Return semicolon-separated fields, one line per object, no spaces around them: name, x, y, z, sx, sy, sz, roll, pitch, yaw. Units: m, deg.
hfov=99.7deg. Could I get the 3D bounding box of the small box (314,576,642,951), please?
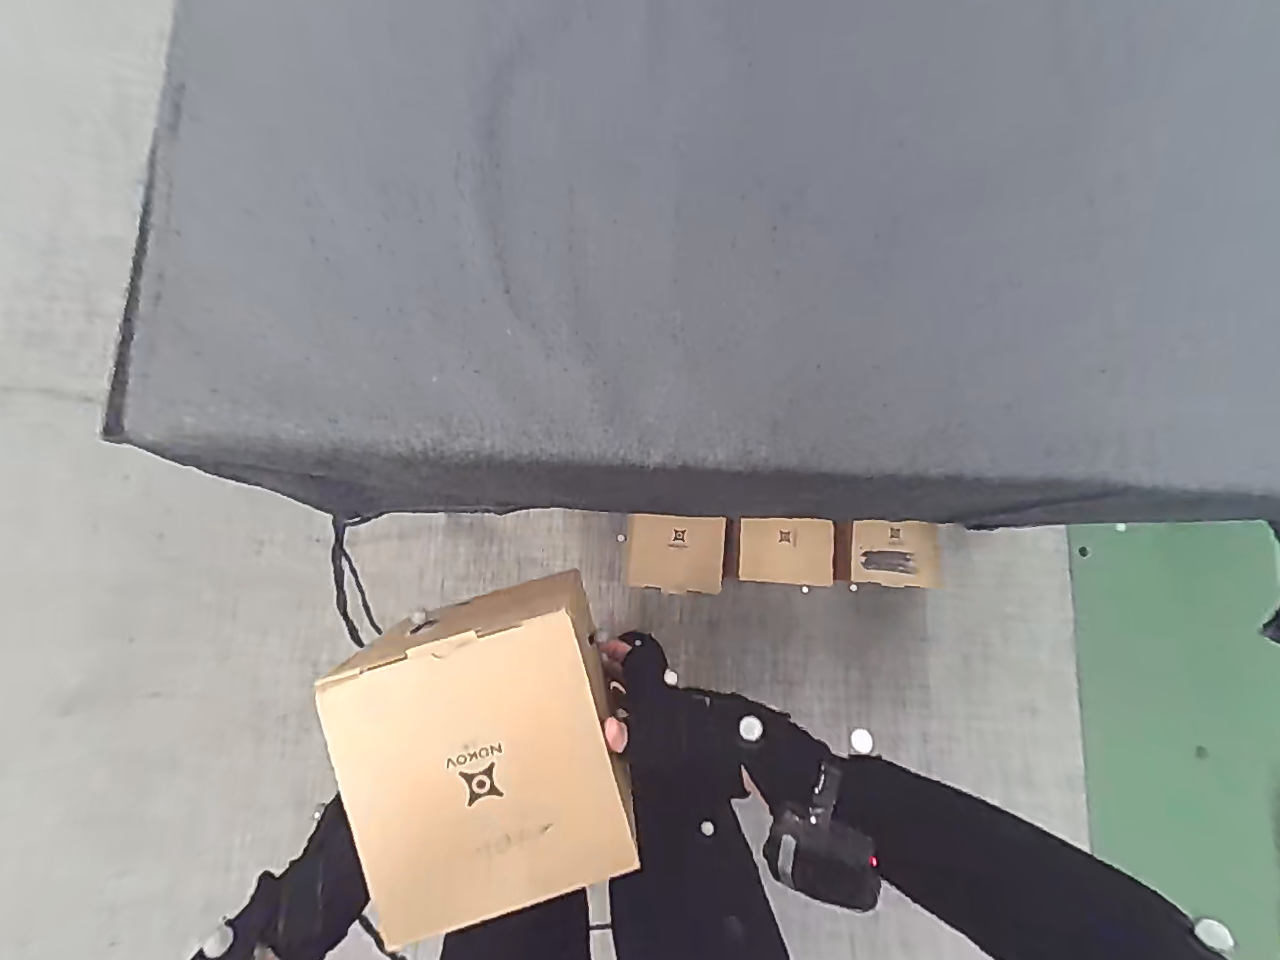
small box;-0.103;0.177;0.405;0.168;0.176;0.179;-14;90;-5
